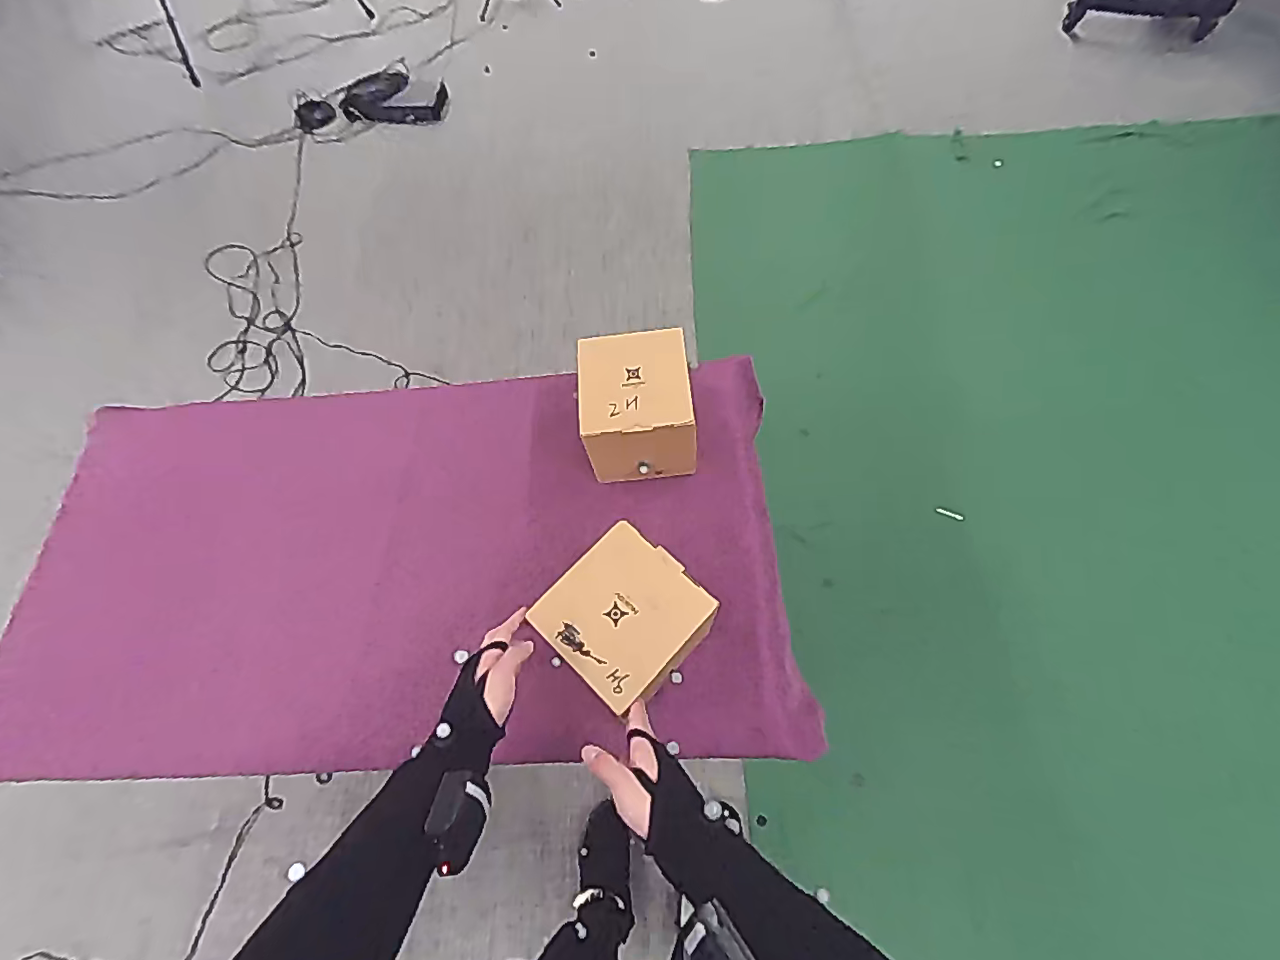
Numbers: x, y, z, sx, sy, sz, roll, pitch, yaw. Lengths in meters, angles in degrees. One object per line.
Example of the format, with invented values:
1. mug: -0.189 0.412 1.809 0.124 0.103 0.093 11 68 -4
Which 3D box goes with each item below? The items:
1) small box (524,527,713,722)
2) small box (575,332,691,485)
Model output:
1. small box: -0.024 0.200 0.730 0.168 0.176 0.179 39 72 21
2. small box: -0.007 -0.109 0.875 0.168 0.176 0.179 -6 65 5
